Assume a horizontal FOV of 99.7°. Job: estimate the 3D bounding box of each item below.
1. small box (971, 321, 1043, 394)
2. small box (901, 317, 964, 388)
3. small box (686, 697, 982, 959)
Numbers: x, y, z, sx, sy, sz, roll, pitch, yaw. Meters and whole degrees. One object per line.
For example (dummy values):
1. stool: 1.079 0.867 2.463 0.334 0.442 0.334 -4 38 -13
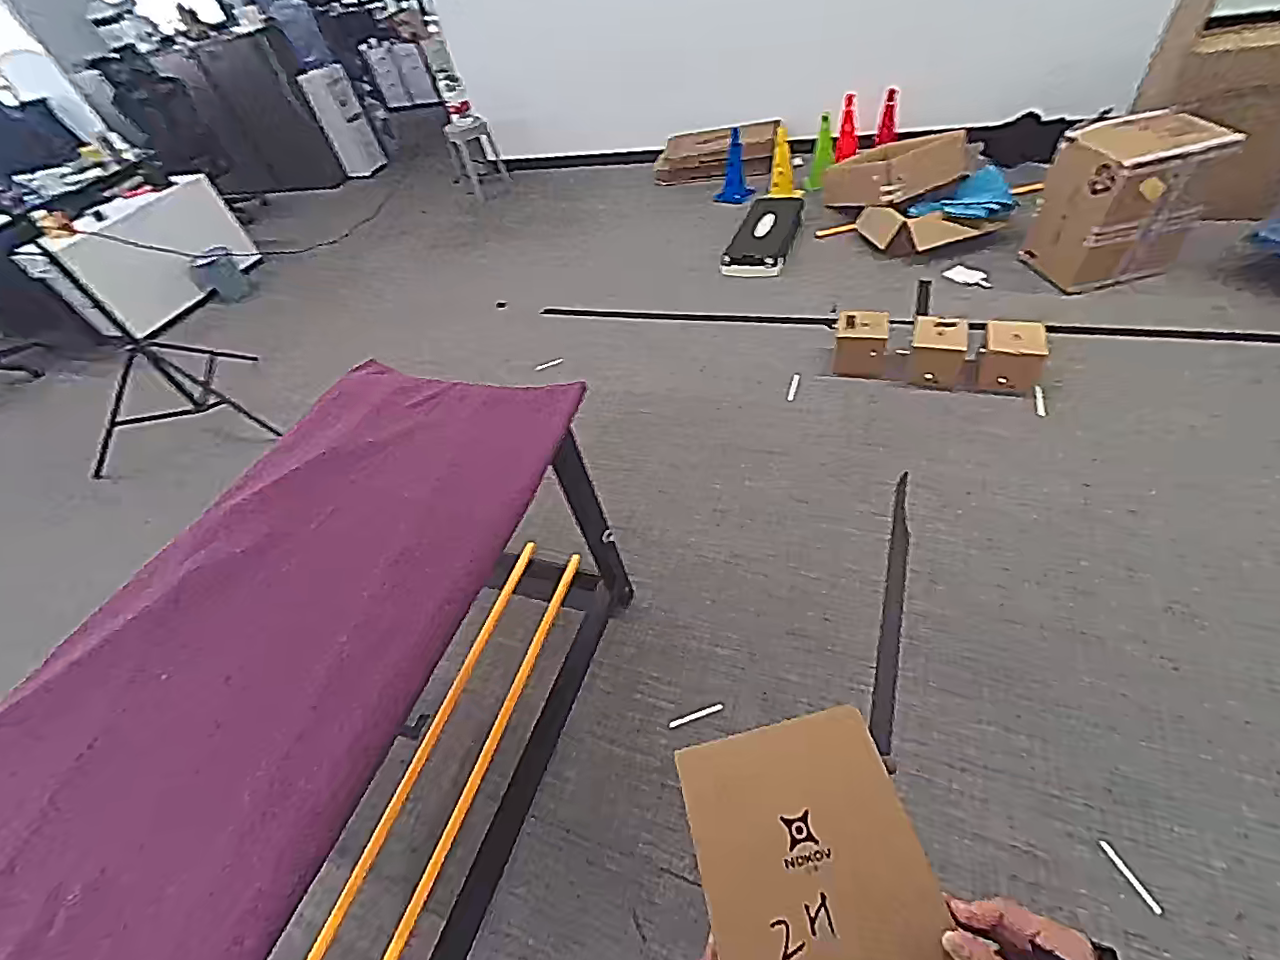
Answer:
1. small box: 1.255 -0.423 1.860 0.168 0.176 0.179 10 52 20
2. small box: 1.042 -0.455 1.933 0.168 0.176 0.179 11 53 22
3. small box: 0.146 0.317 0.467 0.168 0.176 0.179 -16 50 3
